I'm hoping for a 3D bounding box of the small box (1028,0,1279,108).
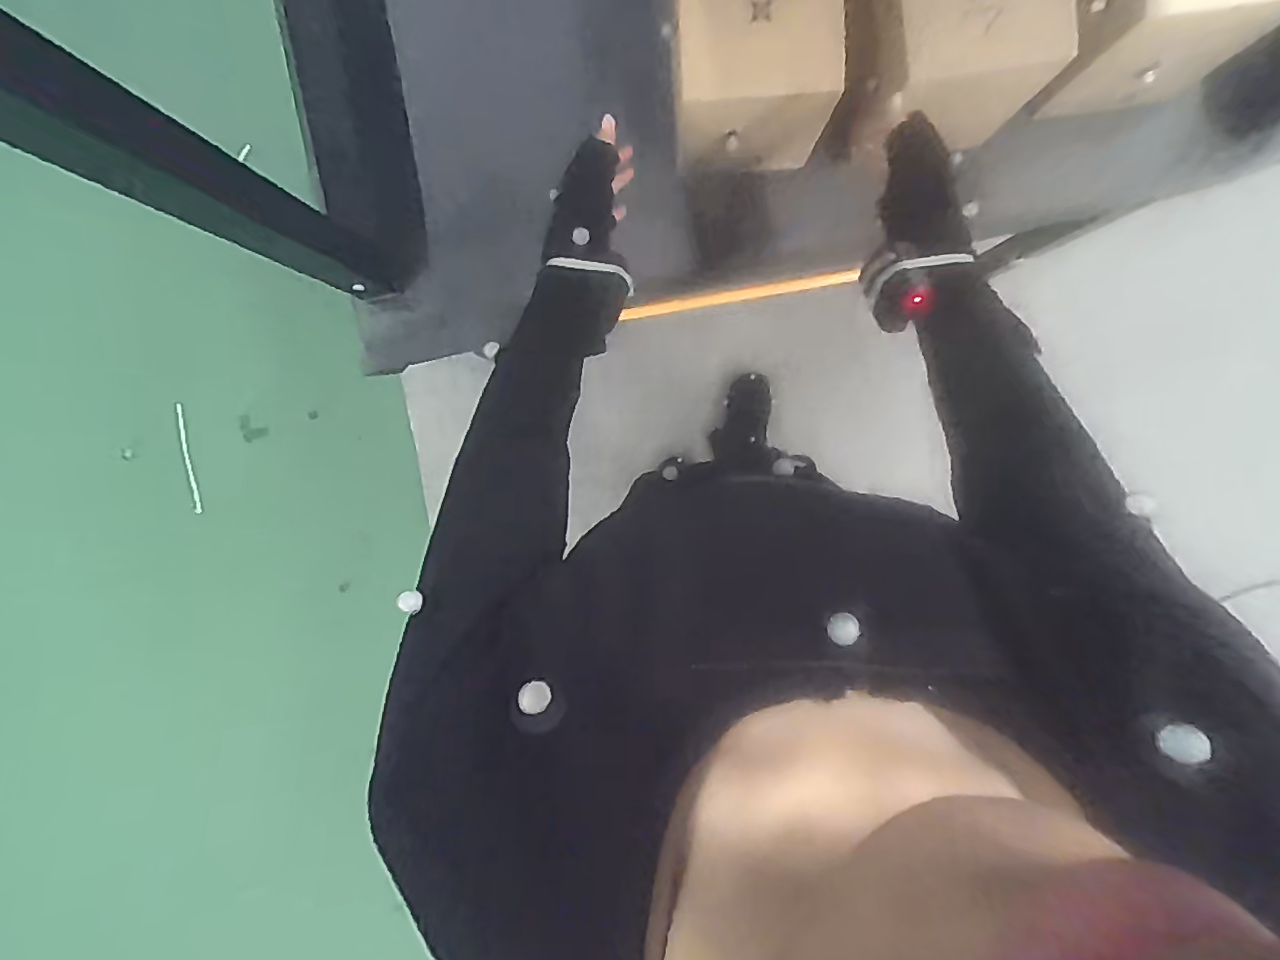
[{"bbox_3d":[0.563,-0.543,0.593,0.168,0.176,0.179,-5,94,3],"label":"small box"}]

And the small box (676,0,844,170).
[{"bbox_3d":[0.127,-0.481,0.623,0.168,0.176,0.179,-2,95,3],"label":"small box"}]
